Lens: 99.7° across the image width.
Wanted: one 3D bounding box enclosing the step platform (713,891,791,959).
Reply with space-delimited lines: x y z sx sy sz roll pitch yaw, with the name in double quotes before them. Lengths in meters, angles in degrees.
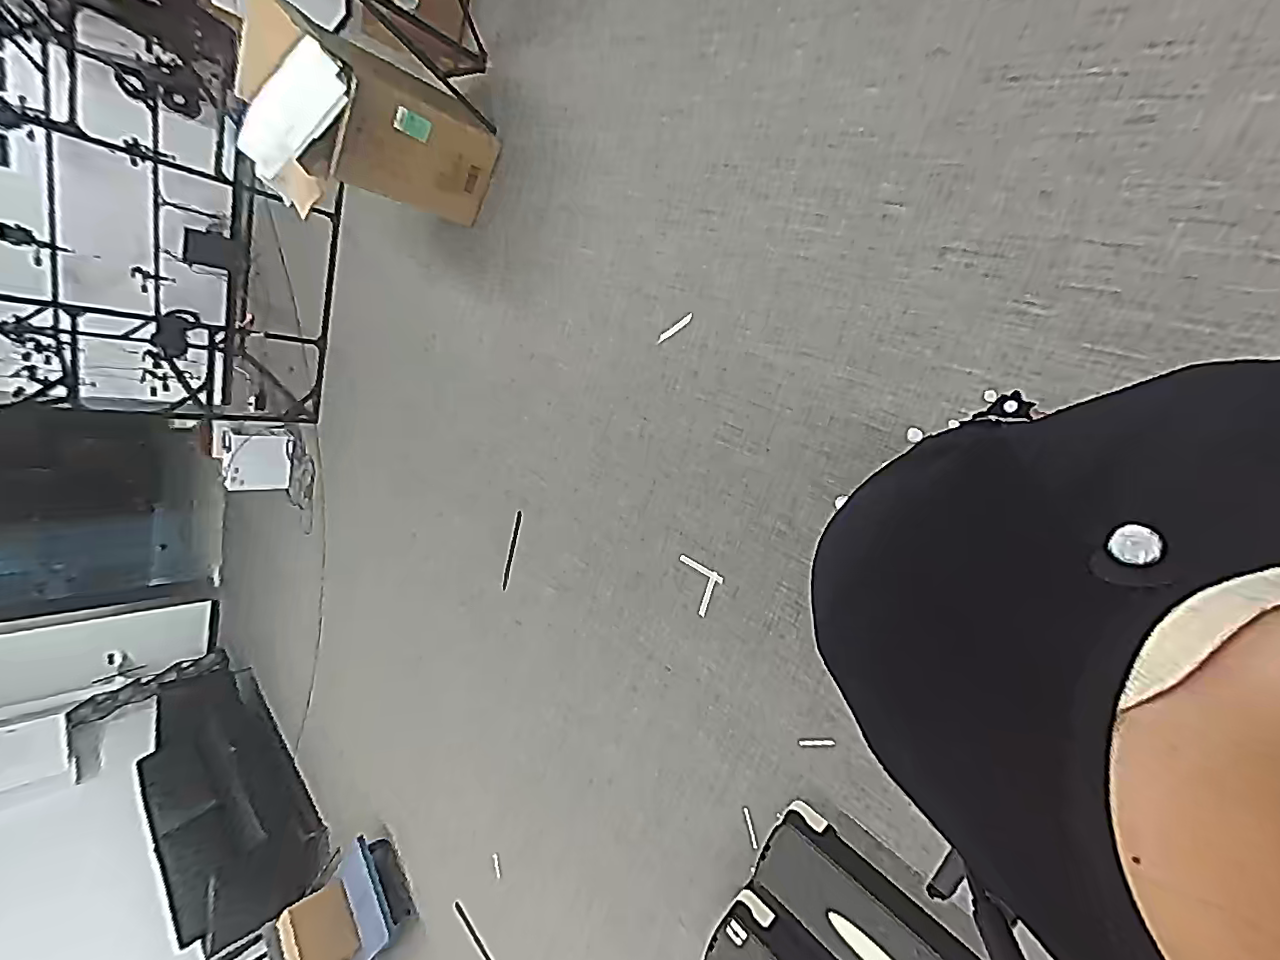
"step platform" 0.486 1.465 1.363 0.684 0.204 0.286 36 113 37
